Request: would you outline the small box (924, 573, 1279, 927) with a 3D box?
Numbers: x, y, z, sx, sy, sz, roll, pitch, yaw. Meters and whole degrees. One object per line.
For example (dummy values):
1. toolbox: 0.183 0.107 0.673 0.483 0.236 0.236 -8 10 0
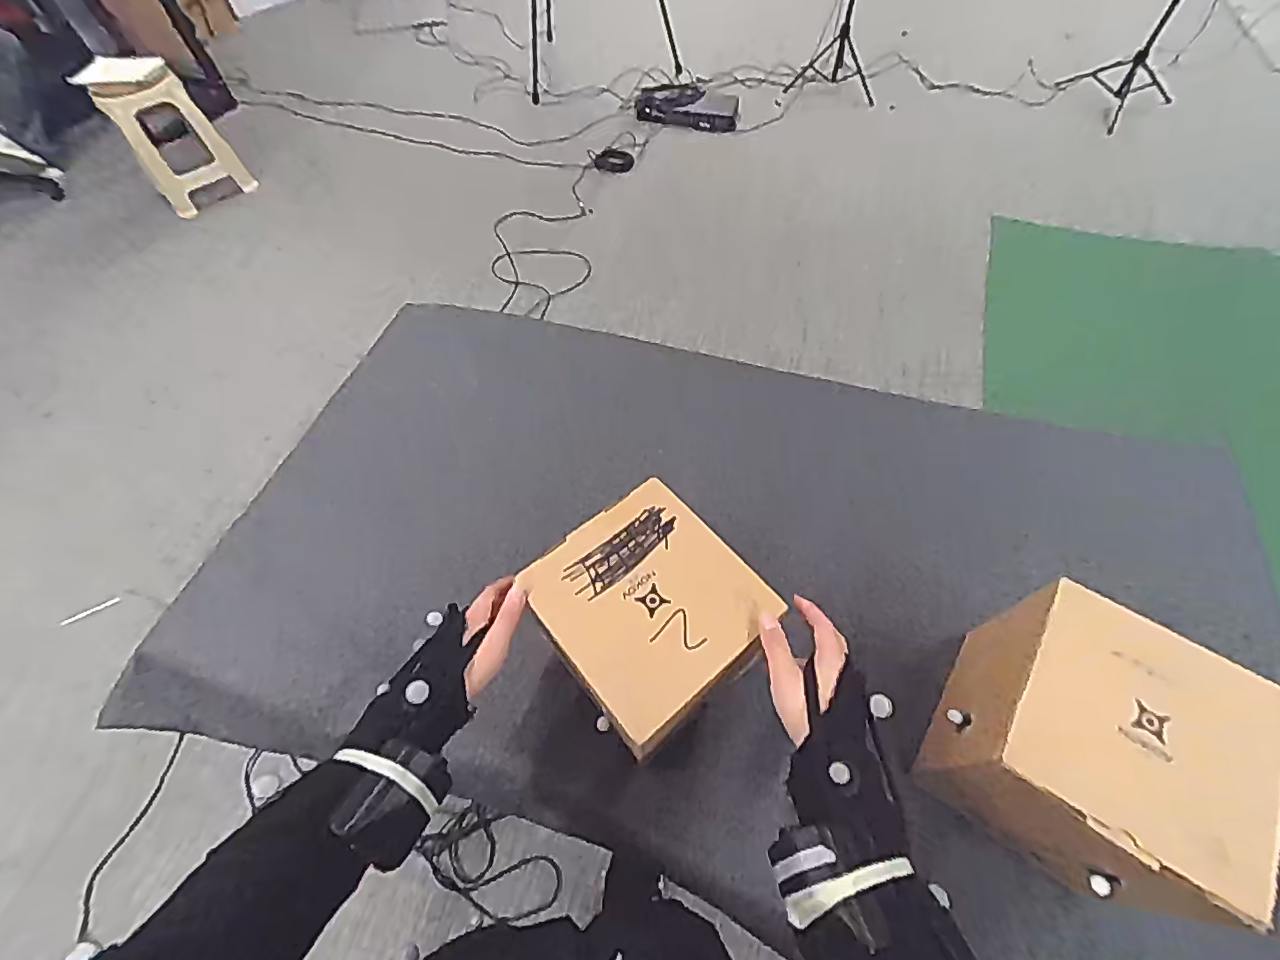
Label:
1. small box: 0.371 0.218 0.456 0.168 0.176 0.179 30 62 19
